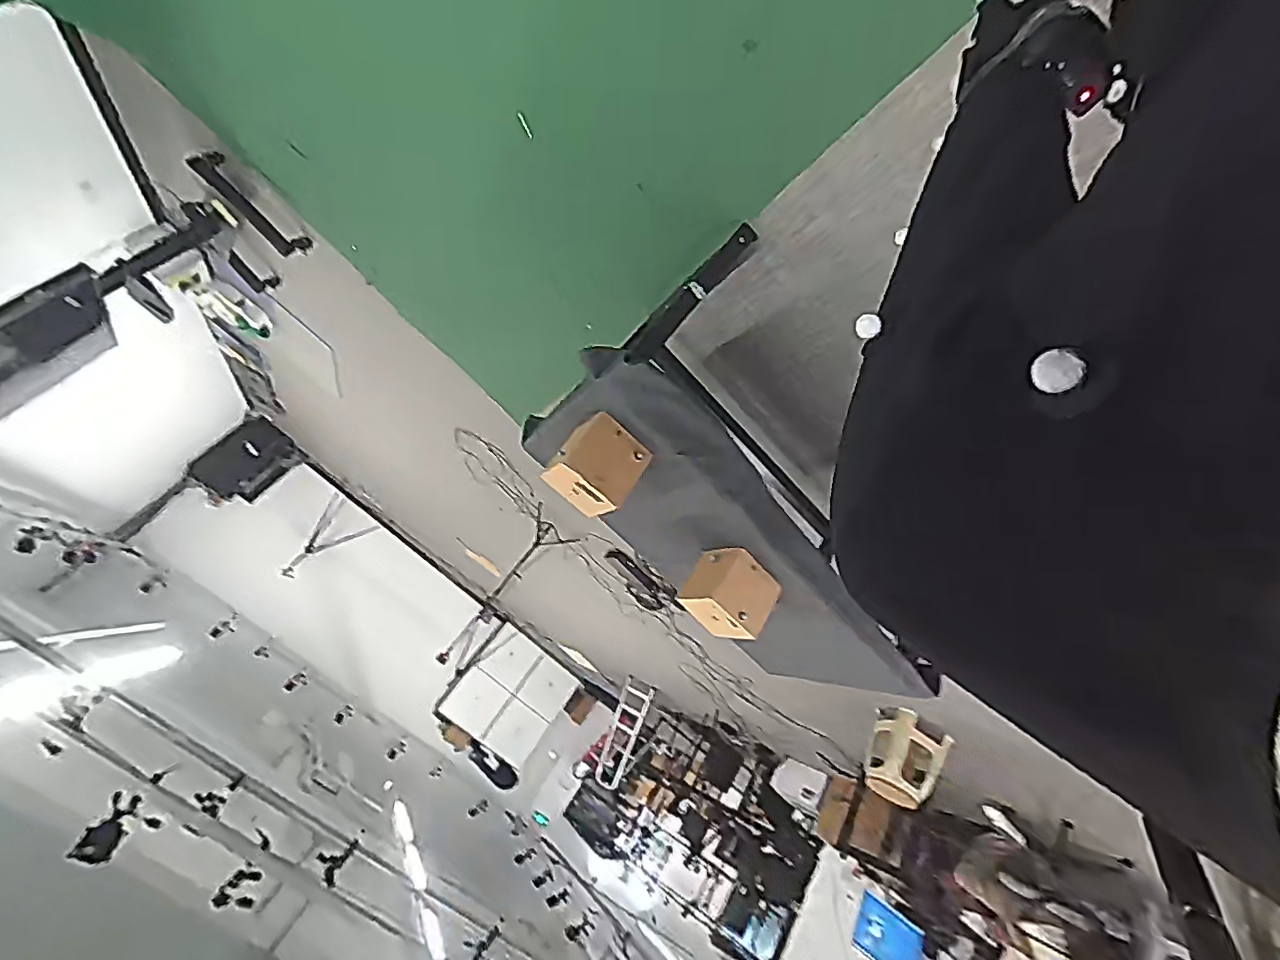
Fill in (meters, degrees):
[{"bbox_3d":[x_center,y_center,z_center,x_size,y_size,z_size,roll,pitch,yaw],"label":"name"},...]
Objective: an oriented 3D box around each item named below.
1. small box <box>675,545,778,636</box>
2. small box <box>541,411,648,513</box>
[{"bbox_3d":[0.233,0.290,1.442,0.168,0.176,0.179,44,153,-13],"label":"small box"},{"bbox_3d":[-0.105,-0.043,1.314,0.168,0.176,0.179,42,154,-15],"label":"small box"}]
